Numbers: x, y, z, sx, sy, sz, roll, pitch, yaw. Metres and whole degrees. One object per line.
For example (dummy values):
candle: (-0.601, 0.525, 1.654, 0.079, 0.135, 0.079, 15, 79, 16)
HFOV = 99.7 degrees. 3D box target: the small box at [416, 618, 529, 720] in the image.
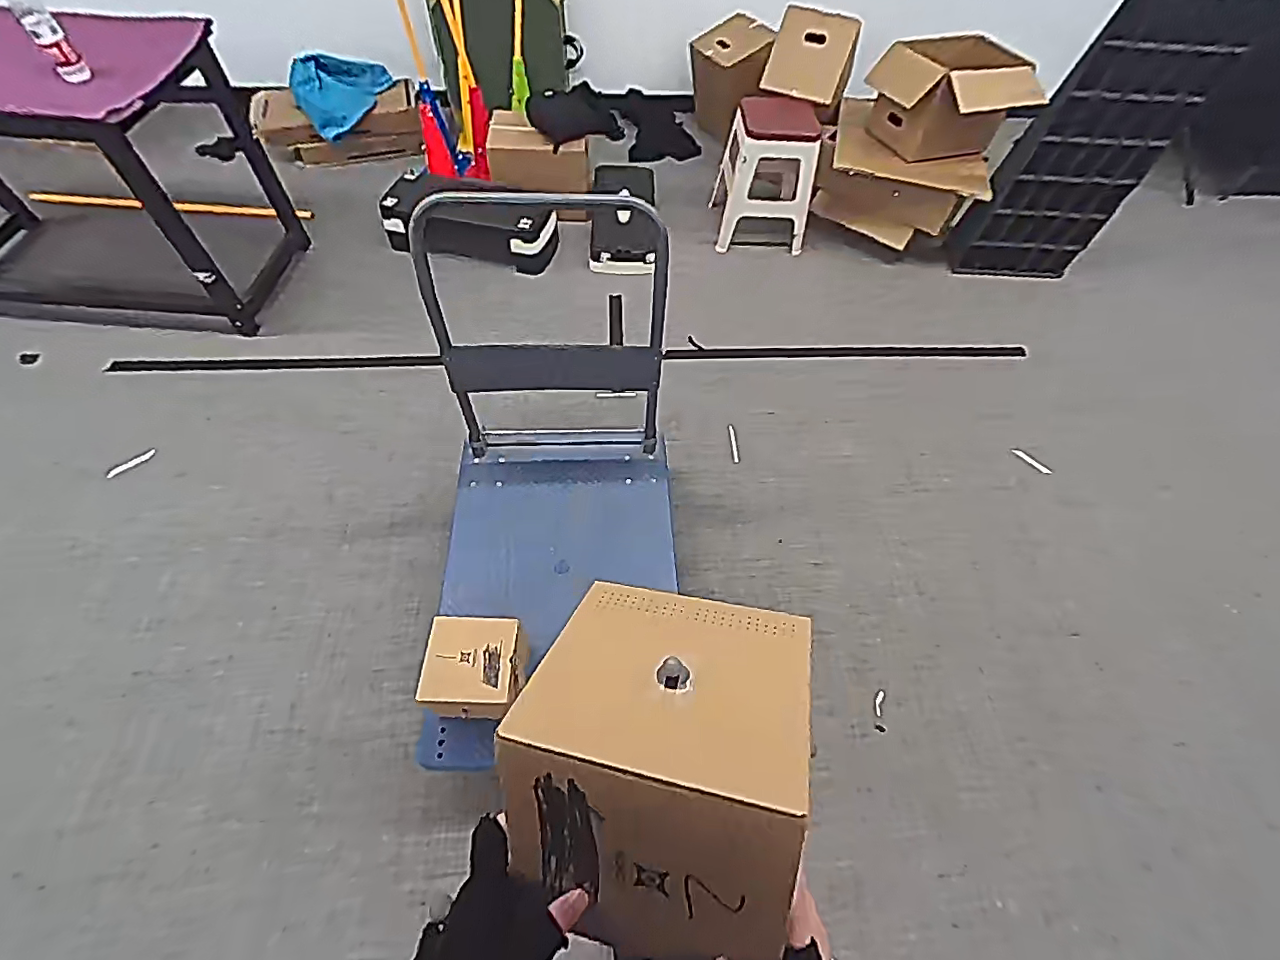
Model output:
small box: (-0.335, 0.398, 1.126, 0.179, 0.176, 0.168, 2, 57, -1)
